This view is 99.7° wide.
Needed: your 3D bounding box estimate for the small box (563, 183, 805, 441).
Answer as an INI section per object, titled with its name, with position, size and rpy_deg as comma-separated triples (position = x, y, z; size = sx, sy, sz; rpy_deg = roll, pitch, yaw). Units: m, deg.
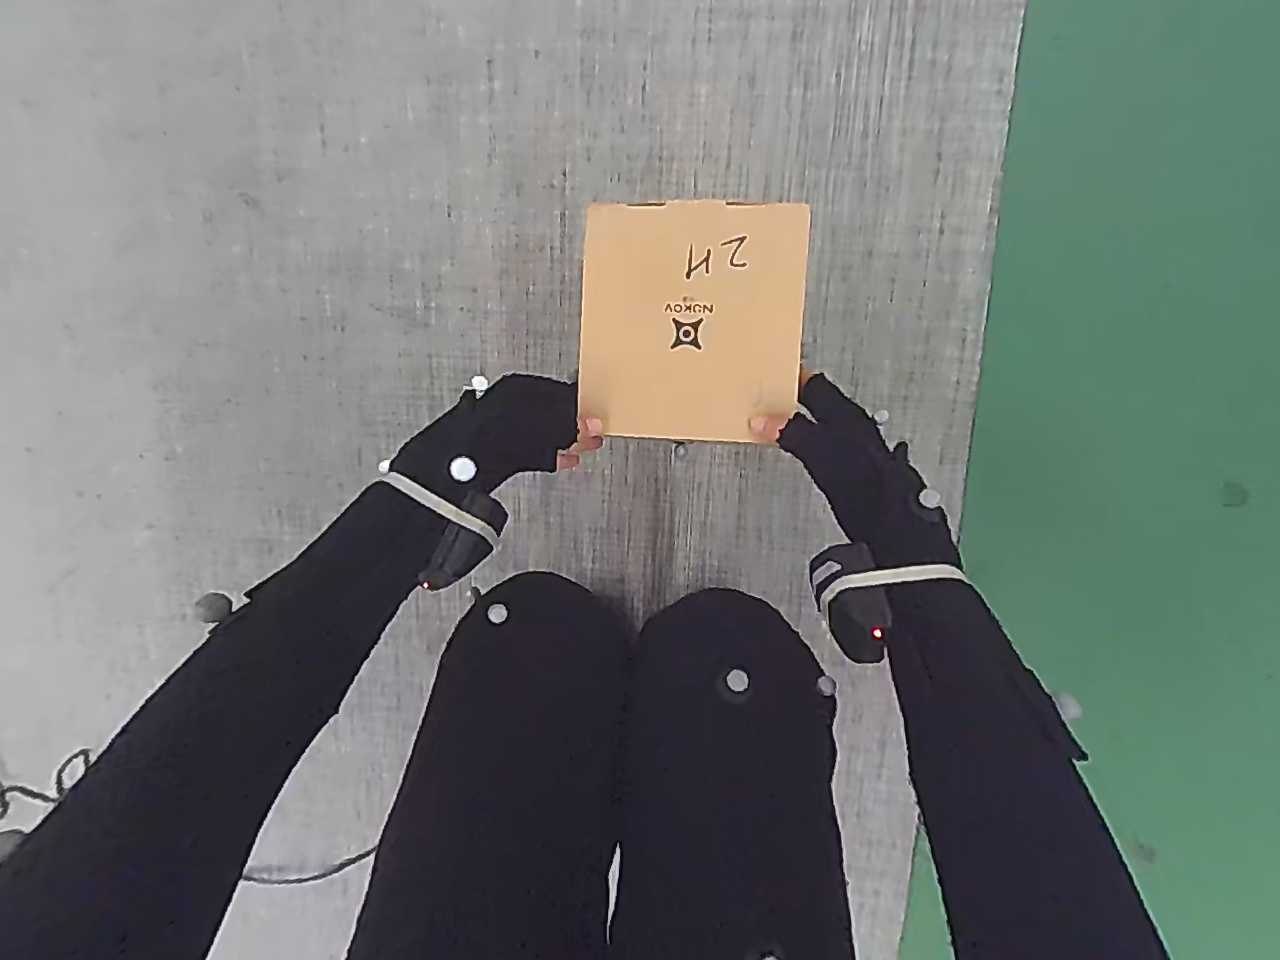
[small box]
position = 0.038, -0.130, 0.480
size = 0.168, 0.176, 0.179
rpy_deg = 6, 92, 4
